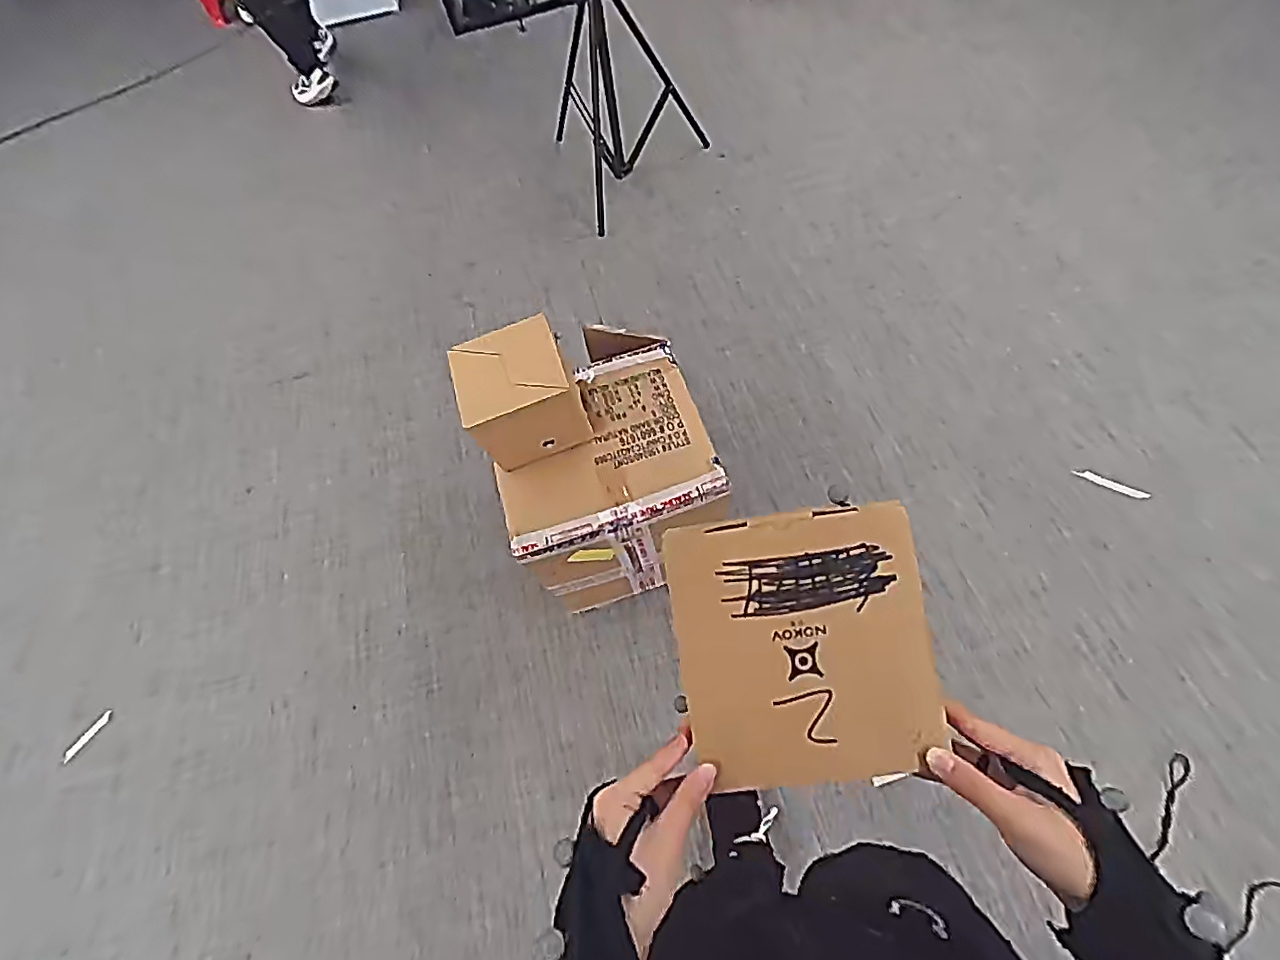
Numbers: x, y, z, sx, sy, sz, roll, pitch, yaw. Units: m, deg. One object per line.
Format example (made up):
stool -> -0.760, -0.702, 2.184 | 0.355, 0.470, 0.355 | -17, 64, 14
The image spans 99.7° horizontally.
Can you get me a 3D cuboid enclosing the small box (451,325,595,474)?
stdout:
small box -> -0.198, -0.139, 0.938 | 0.179, 0.176, 0.168 | -20, 65, 0
